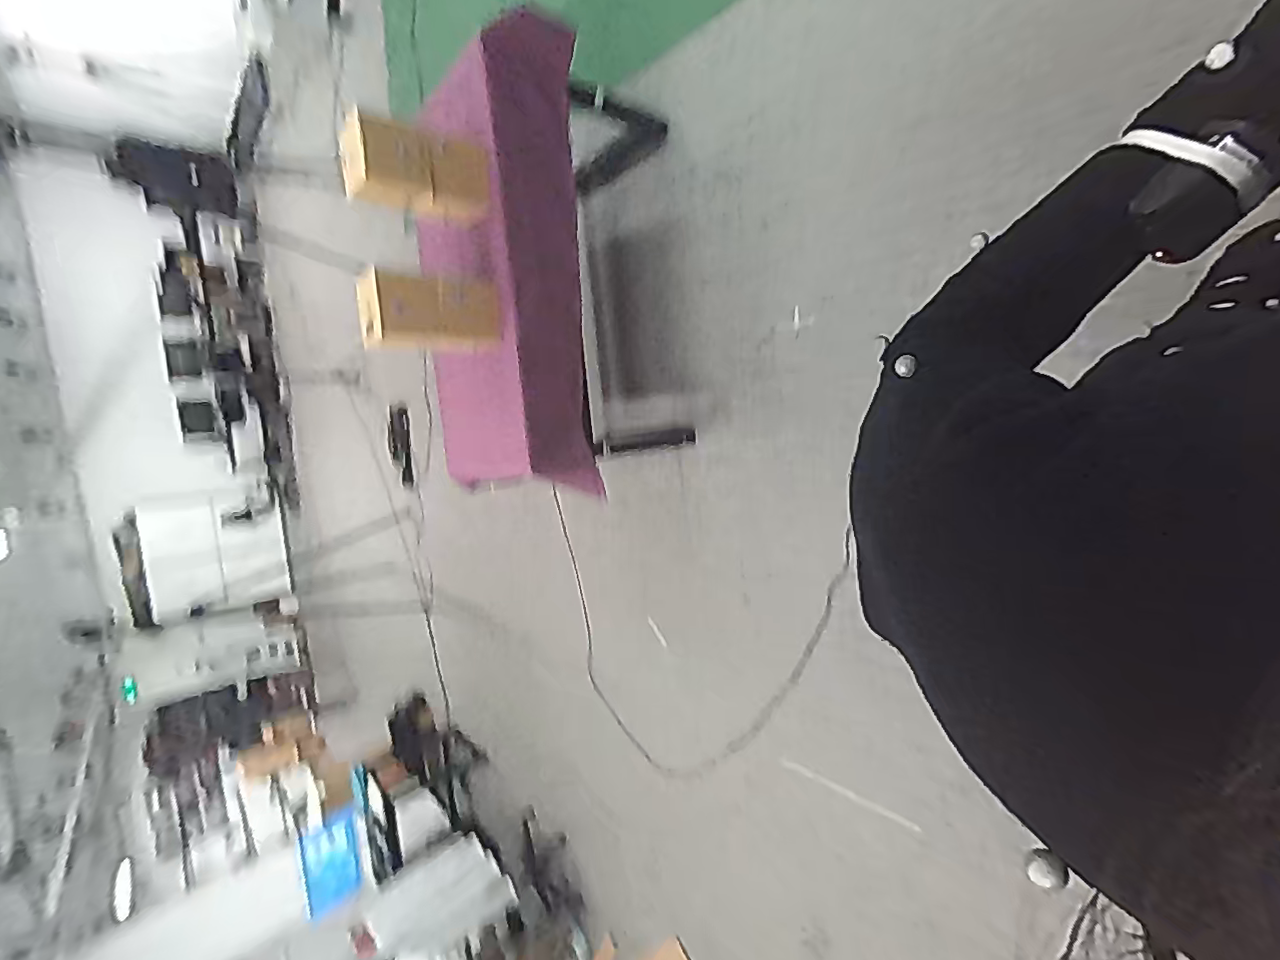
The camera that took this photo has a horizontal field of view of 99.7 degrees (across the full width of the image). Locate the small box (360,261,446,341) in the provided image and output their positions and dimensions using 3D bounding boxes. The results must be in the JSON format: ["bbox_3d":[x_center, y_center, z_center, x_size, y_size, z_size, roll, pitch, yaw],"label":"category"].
[{"bbox_3d":[-0.643,-0.479,1.473,0.168,0.176,0.179,2,98,48],"label":"small box"}]

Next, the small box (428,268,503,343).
[{"bbox_3d":[-0.516,-0.501,1.576,0.168,0.176,0.179,7,103,48],"label":"small box"}]

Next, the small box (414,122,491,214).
[{"bbox_3d":[-0.529,-0.862,1.518,0.168,0.176,0.179,11,106,47],"label":"small box"}]

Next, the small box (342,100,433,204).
[{"bbox_3d":[-0.652,-0.843,1.410,0.179,0.176,0.168,6,102,47],"label":"small box"}]
